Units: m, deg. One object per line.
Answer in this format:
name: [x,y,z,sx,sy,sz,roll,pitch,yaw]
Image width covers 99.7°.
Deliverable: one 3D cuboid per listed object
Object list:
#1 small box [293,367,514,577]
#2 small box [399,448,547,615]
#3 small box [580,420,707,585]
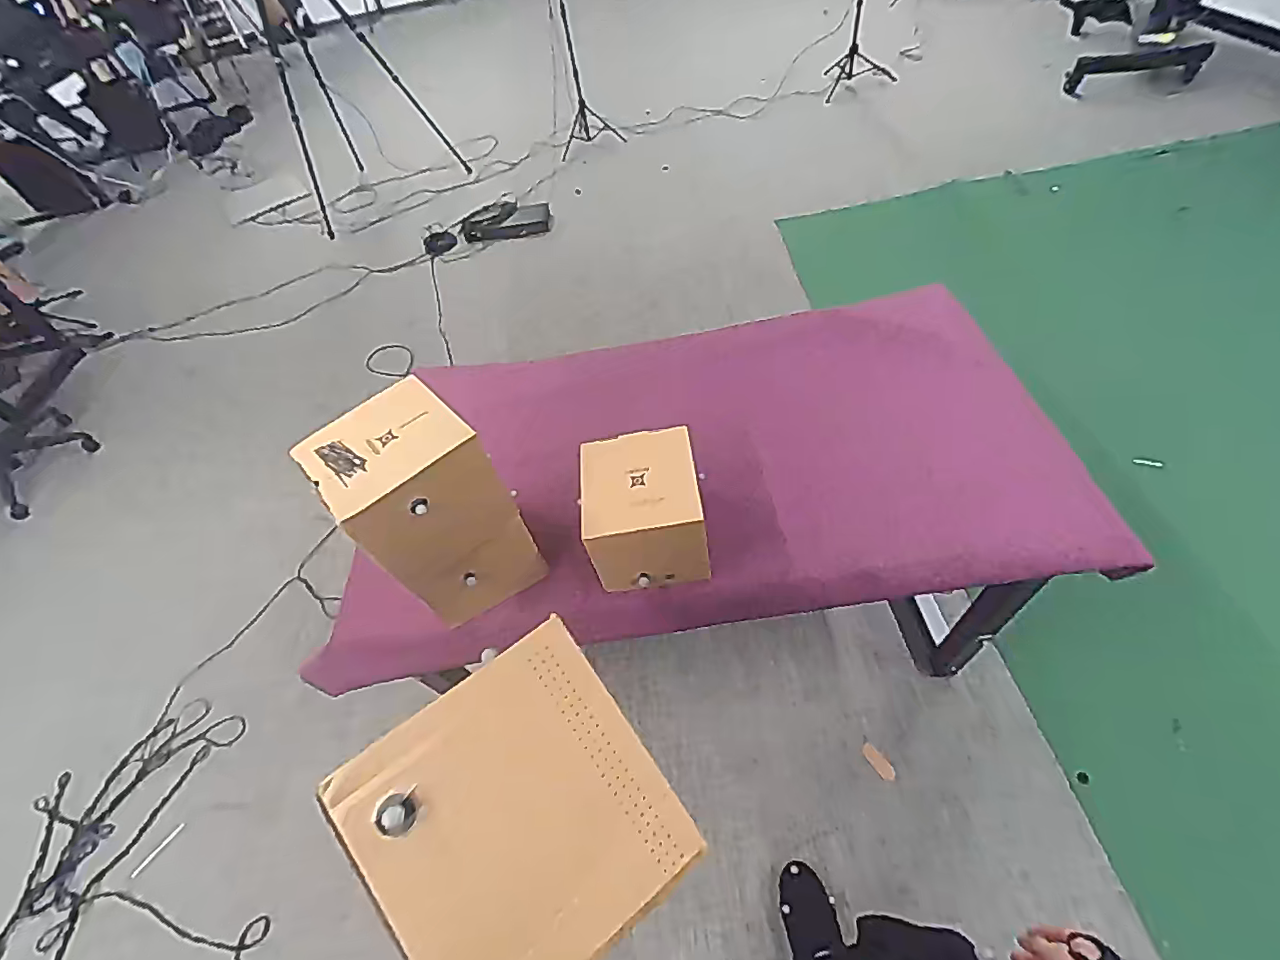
small box: [-0.294,-0.007,0.701,0.179,0.176,0.168,-38,56,-20]
small box: [-0.270,0.079,0.841,0.179,0.176,0.168,-29,54,-12]
small box: [0.007,0.037,0.823,0.168,0.176,0.179,-9,52,5]
